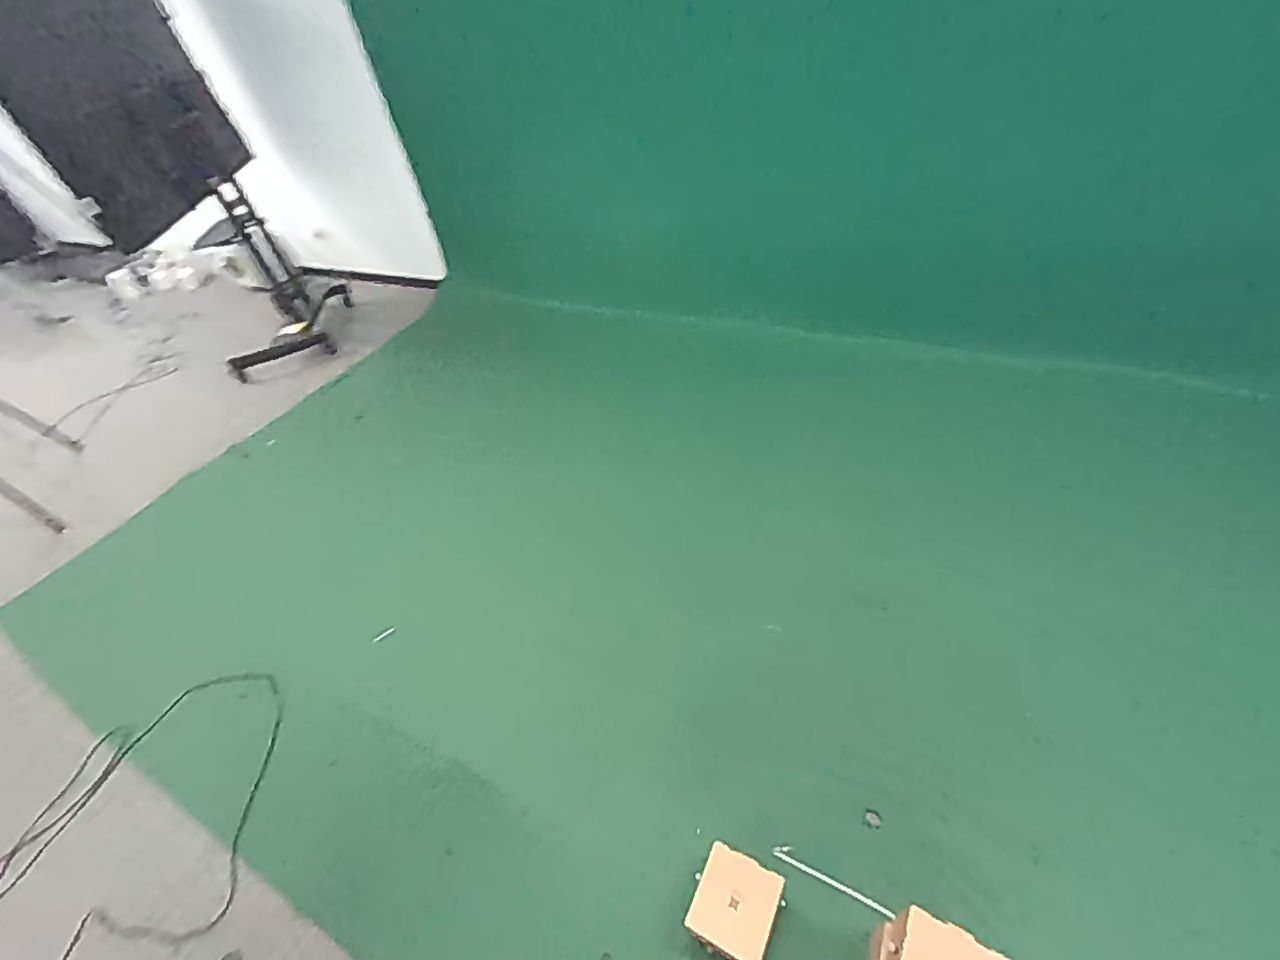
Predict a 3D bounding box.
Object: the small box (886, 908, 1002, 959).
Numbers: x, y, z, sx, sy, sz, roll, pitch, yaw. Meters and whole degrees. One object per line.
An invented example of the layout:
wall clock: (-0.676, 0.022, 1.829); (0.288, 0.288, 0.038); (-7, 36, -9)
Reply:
small box: (0.533, 0.918, 0.962); (0.168, 0.176, 0.179); (18, 51, 27)

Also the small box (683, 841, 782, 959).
small box: (0.214, 0.965, 1.216); (0.168, 0.176, 0.179); (16, 49, 26)
